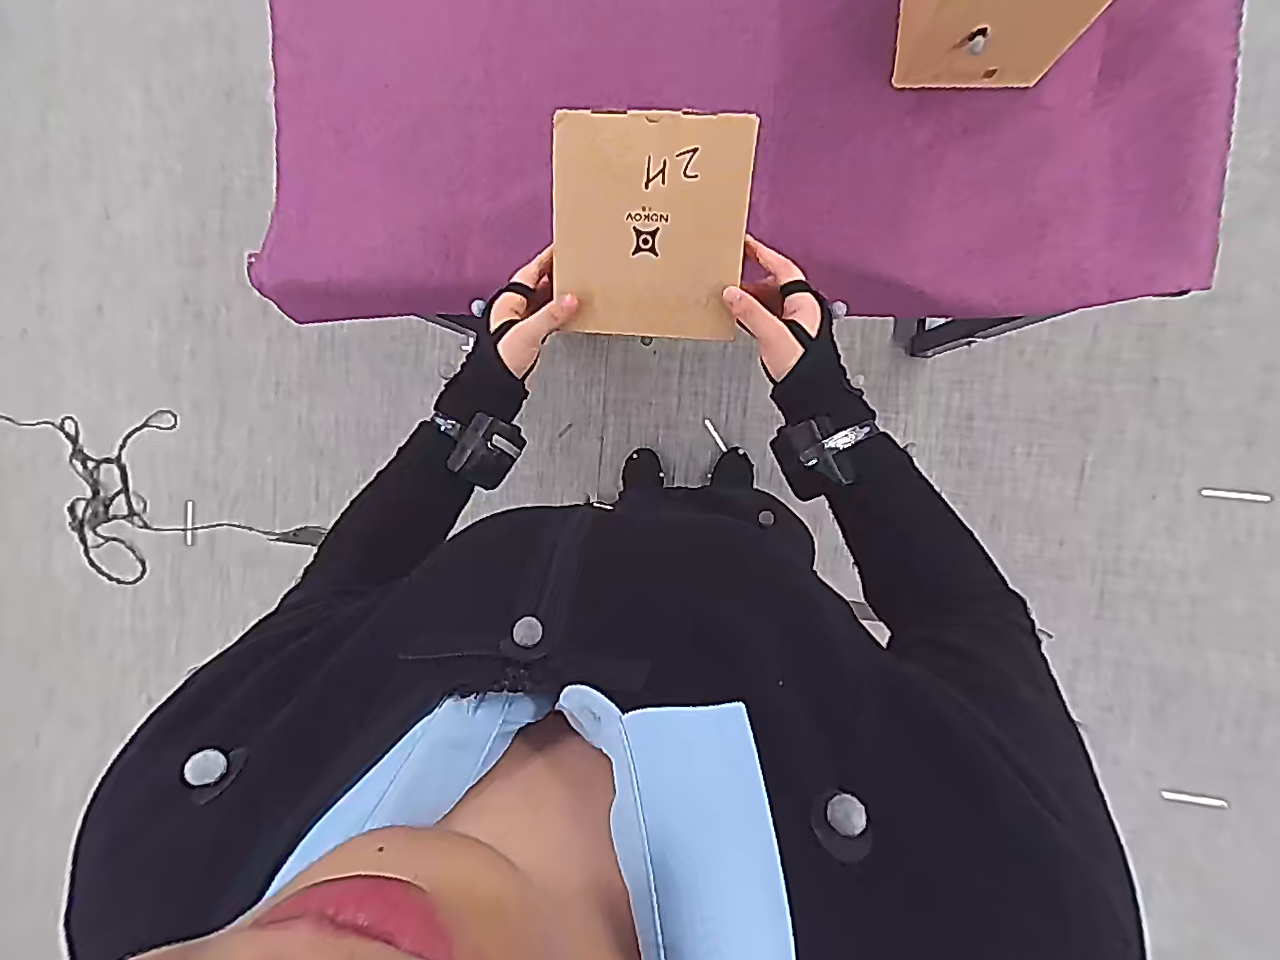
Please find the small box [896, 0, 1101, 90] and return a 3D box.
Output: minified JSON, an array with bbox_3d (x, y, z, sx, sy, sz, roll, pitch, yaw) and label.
[{"bbox_3d":[0.395,-0.563,0.589,0.168,0.176,0.179,5,95,7],"label":"small box"}]
